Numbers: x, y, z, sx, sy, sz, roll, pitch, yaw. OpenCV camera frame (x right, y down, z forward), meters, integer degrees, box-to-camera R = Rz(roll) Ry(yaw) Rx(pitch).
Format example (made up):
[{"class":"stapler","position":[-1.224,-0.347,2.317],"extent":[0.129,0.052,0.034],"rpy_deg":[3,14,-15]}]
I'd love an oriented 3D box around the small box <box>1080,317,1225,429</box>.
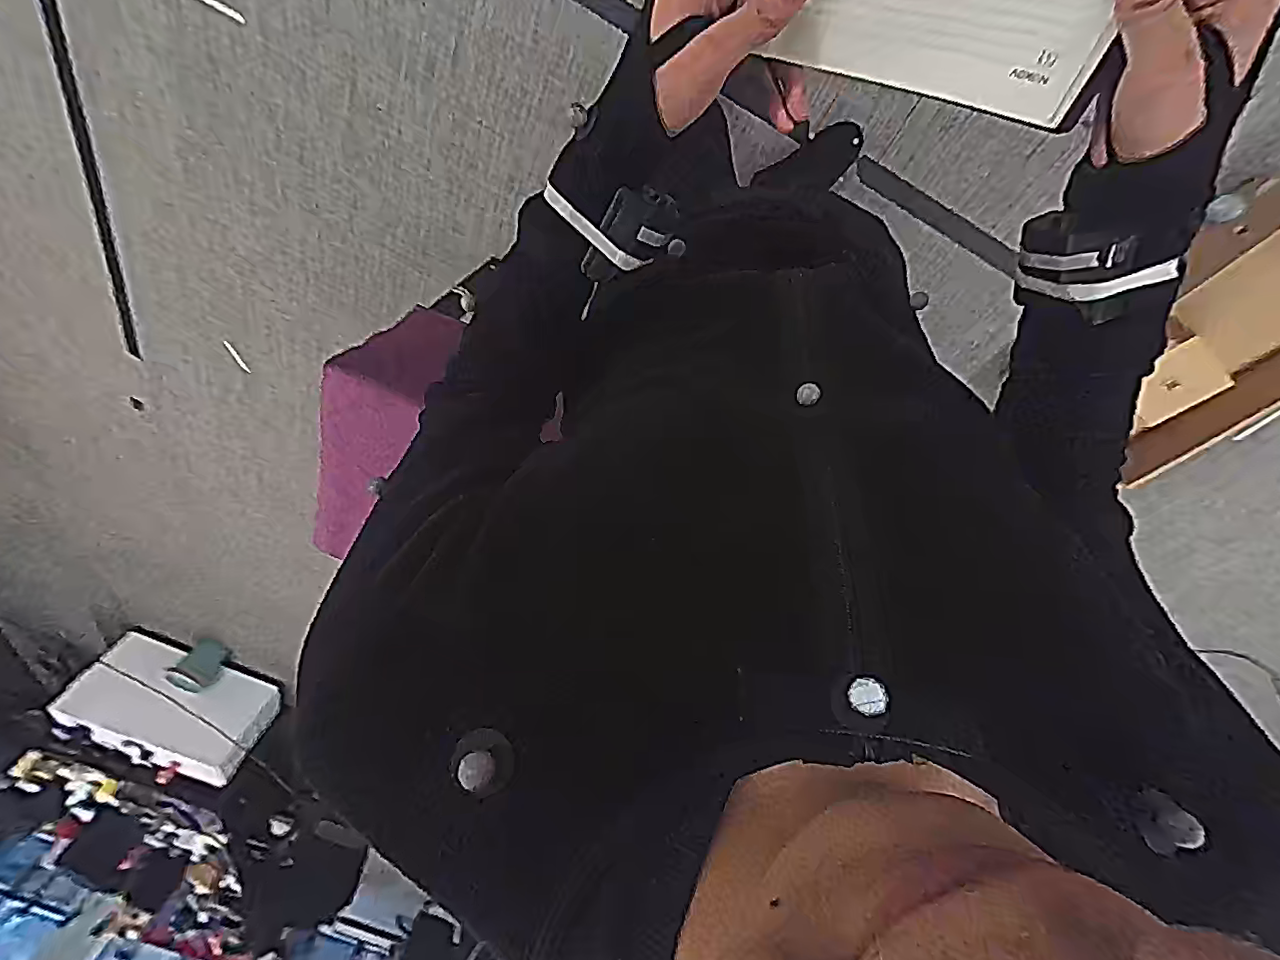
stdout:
[{"class":"small box","position":[1.207,-0.263,1.289],"extent":[0.179,0.176,0.168],"rpy_deg":[37,127,-16]}]
